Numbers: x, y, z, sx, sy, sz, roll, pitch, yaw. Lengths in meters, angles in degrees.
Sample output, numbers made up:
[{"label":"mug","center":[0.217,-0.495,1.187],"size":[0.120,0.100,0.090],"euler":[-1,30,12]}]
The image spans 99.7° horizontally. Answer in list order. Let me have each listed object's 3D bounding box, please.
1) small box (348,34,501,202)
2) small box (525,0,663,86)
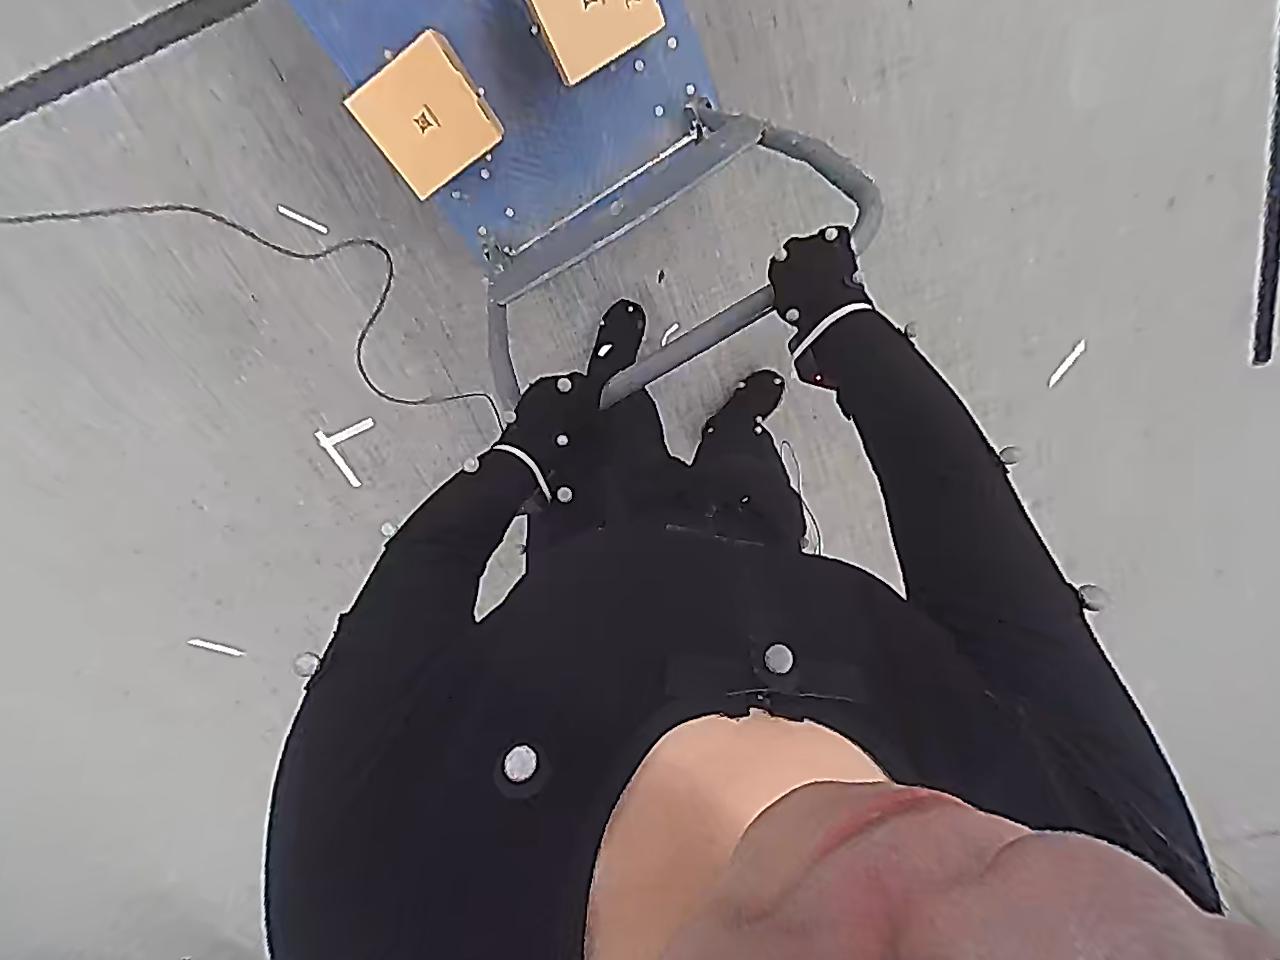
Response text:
[{"label":"small box","center":[-0.355,-0.614,0.930],"size":[0.179,0.176,0.168],"euler":[-32,125,10]},{"label":"small box","center":[-0.085,-0.769,0.873],"size":[0.179,0.176,0.168],"euler":[-27,127,8]}]
